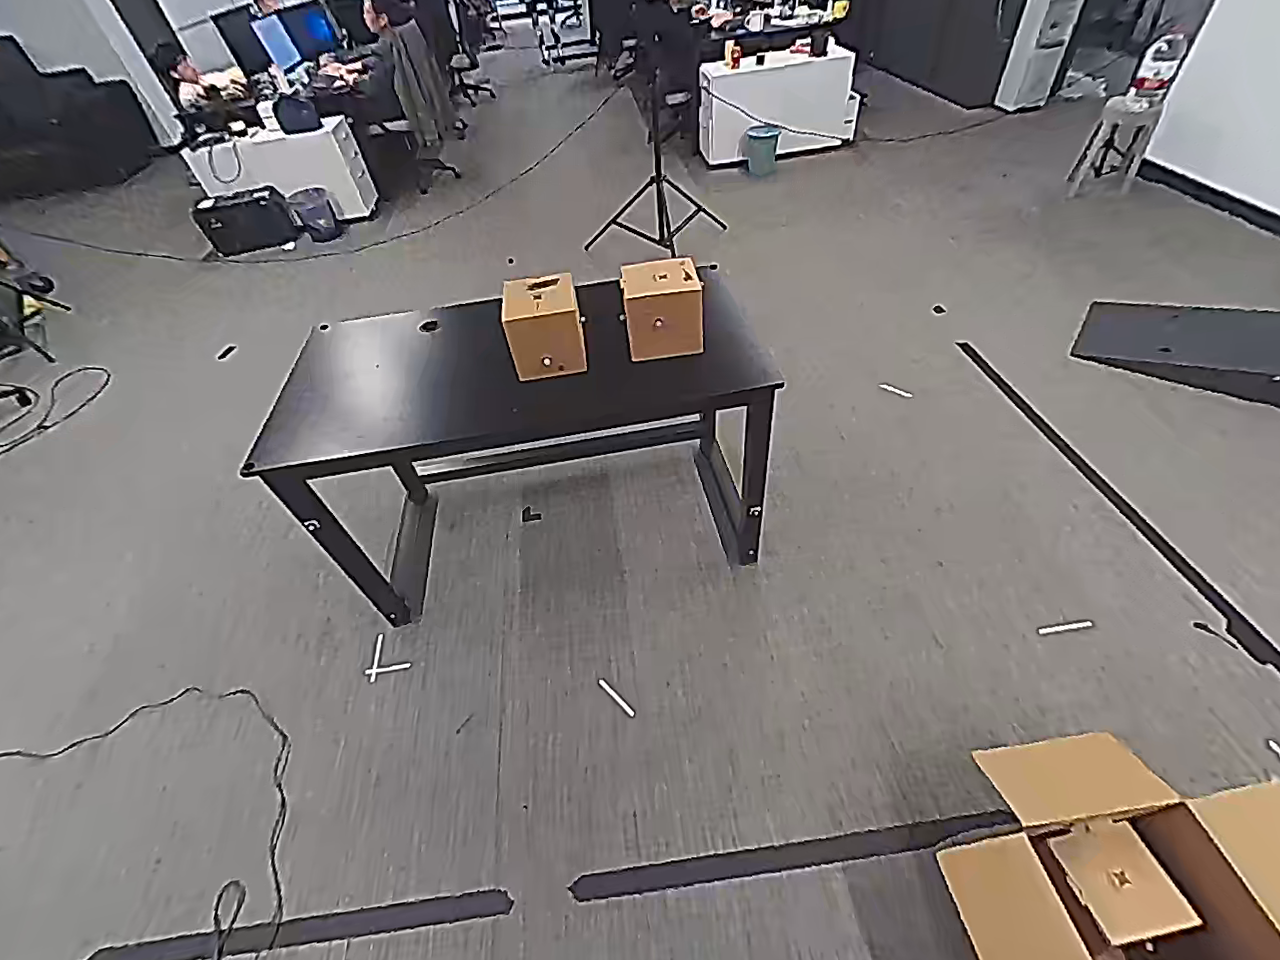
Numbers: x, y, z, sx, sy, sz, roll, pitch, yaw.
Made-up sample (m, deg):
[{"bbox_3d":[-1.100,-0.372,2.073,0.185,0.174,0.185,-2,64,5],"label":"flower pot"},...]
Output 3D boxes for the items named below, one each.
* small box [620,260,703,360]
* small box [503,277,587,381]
[{"bbox_3d":[0.053,-0.407,1.308,0.179,0.176,0.168,-8,47,1],"label":"small box"},{"bbox_3d":[-0.225,-0.364,1.304,0.168,0.176,0.179,-9,47,-1],"label":"small box"}]
